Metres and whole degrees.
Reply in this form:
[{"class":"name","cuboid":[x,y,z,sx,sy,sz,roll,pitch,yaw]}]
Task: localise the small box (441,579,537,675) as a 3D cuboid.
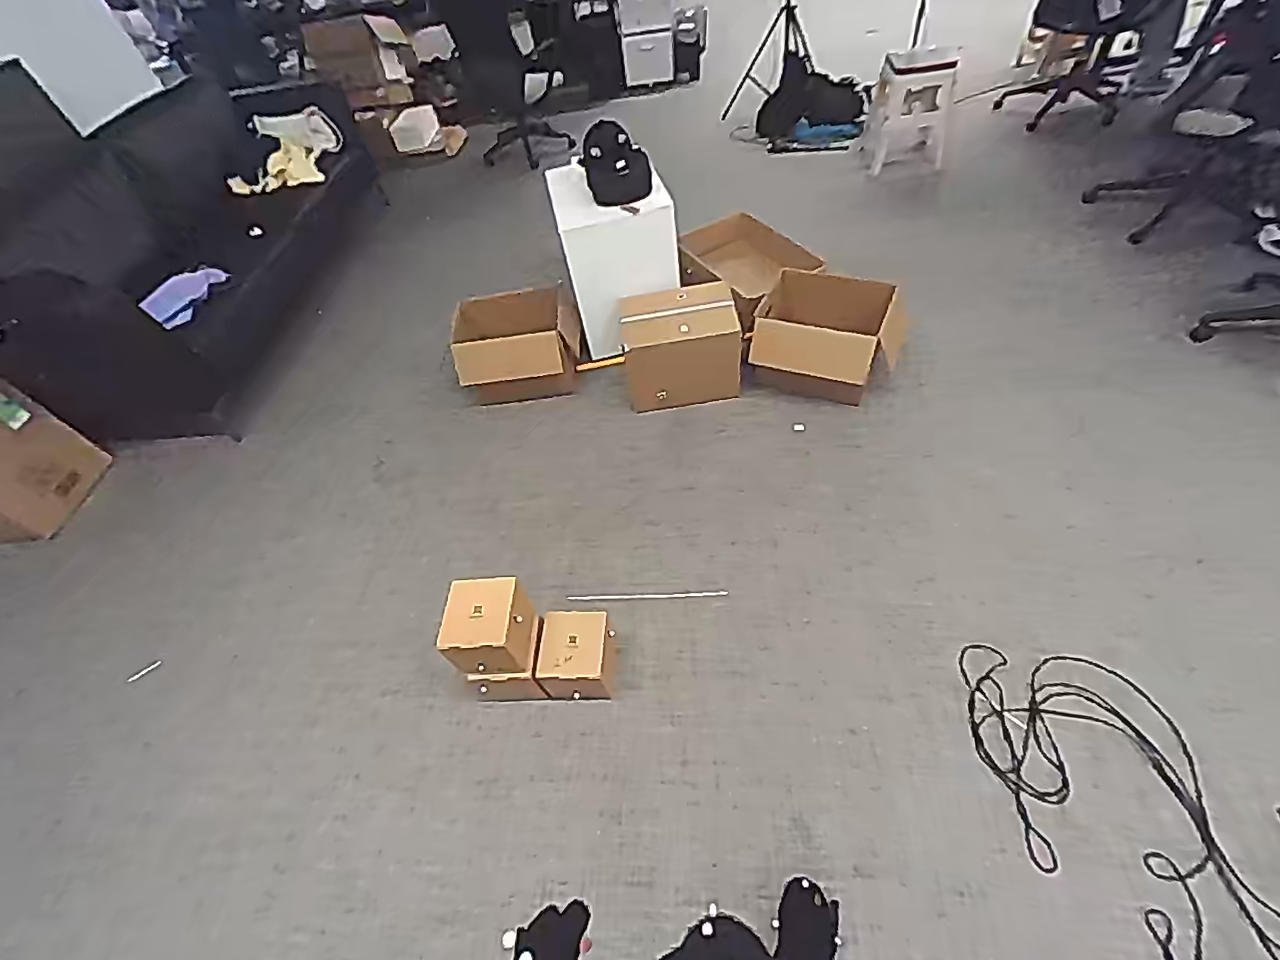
[{"class":"small box","cuboid":[-0.362,0.364,1.335,0.168,0.176,0.179,-4,51,6]}]
